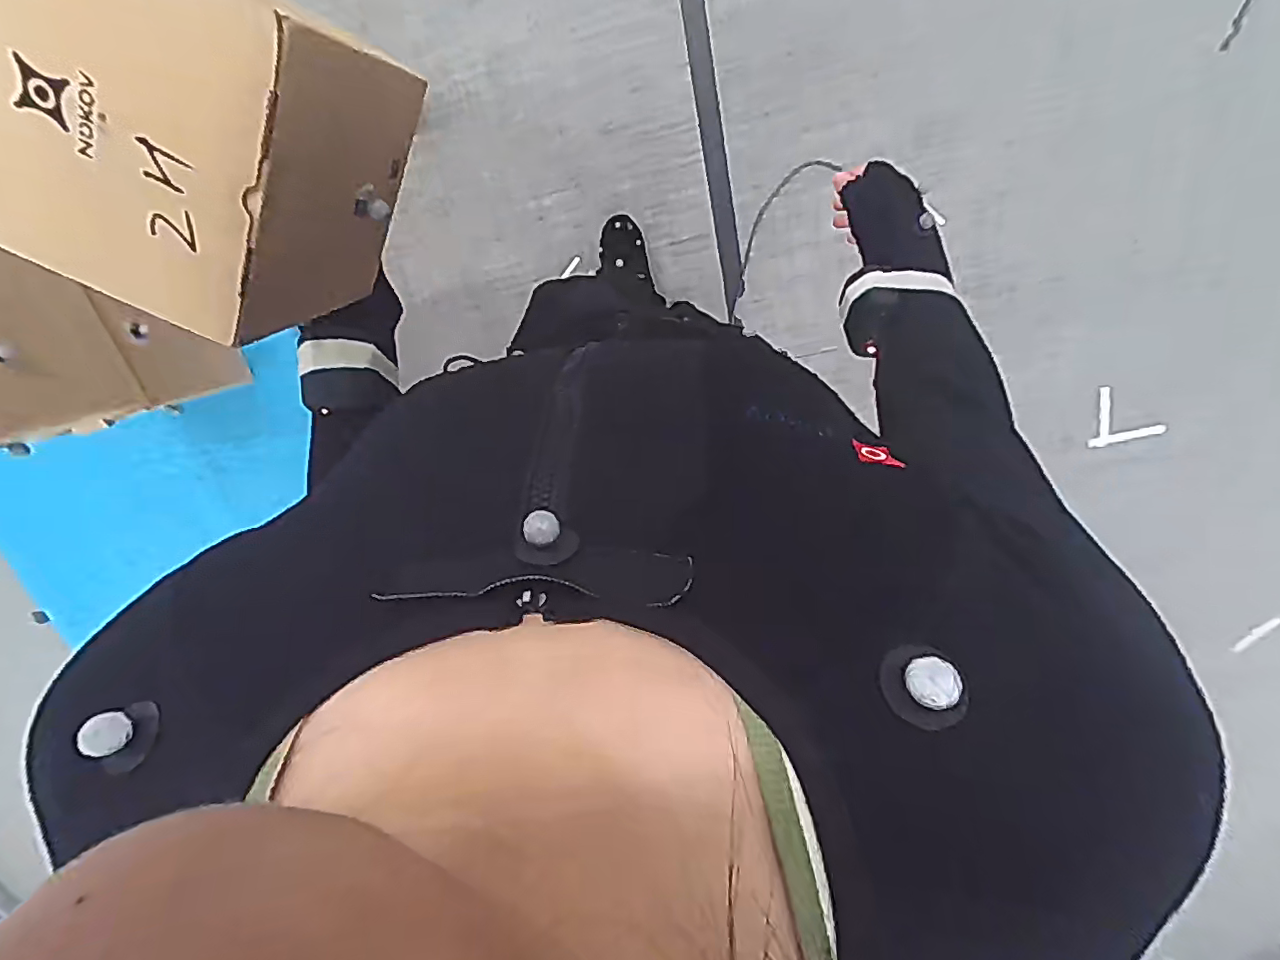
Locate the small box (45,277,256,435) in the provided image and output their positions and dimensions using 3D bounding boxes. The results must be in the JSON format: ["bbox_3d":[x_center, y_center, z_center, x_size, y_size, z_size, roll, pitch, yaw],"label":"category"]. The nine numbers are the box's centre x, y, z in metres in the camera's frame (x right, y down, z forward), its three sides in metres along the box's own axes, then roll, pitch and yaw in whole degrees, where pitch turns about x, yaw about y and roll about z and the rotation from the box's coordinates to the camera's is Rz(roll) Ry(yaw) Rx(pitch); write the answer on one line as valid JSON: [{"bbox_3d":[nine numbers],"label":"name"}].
[{"bbox_3d":[-0.628,-0.175,0.660,0.168,0.176,0.179,-11,111,10],"label":"small box"}]

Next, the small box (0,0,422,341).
[{"bbox_3d":[-0.263,-0.215,0.320,0.179,0.176,0.168,28,117,-16],"label":"small box"}]

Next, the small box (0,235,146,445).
[{"bbox_3d":[-0.639,-0.121,0.507,0.168,0.176,0.179,-15,109,12],"label":"small box"}]
